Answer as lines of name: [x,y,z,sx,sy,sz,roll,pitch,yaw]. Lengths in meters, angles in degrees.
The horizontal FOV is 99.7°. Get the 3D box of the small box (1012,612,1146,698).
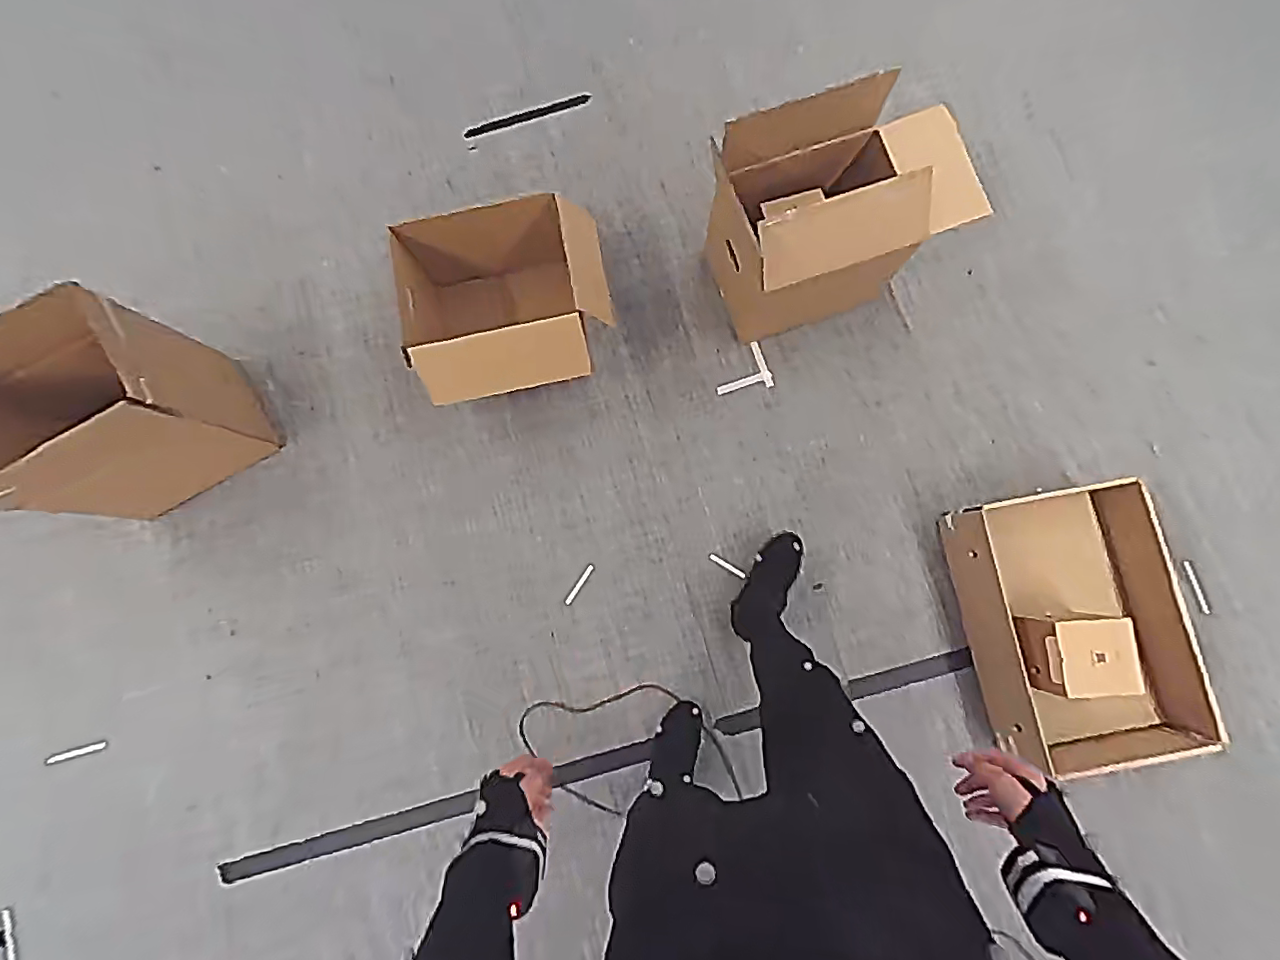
small box: [1.002,0.401,1.256,0.179,0.176,0.168,-3,82,1]
